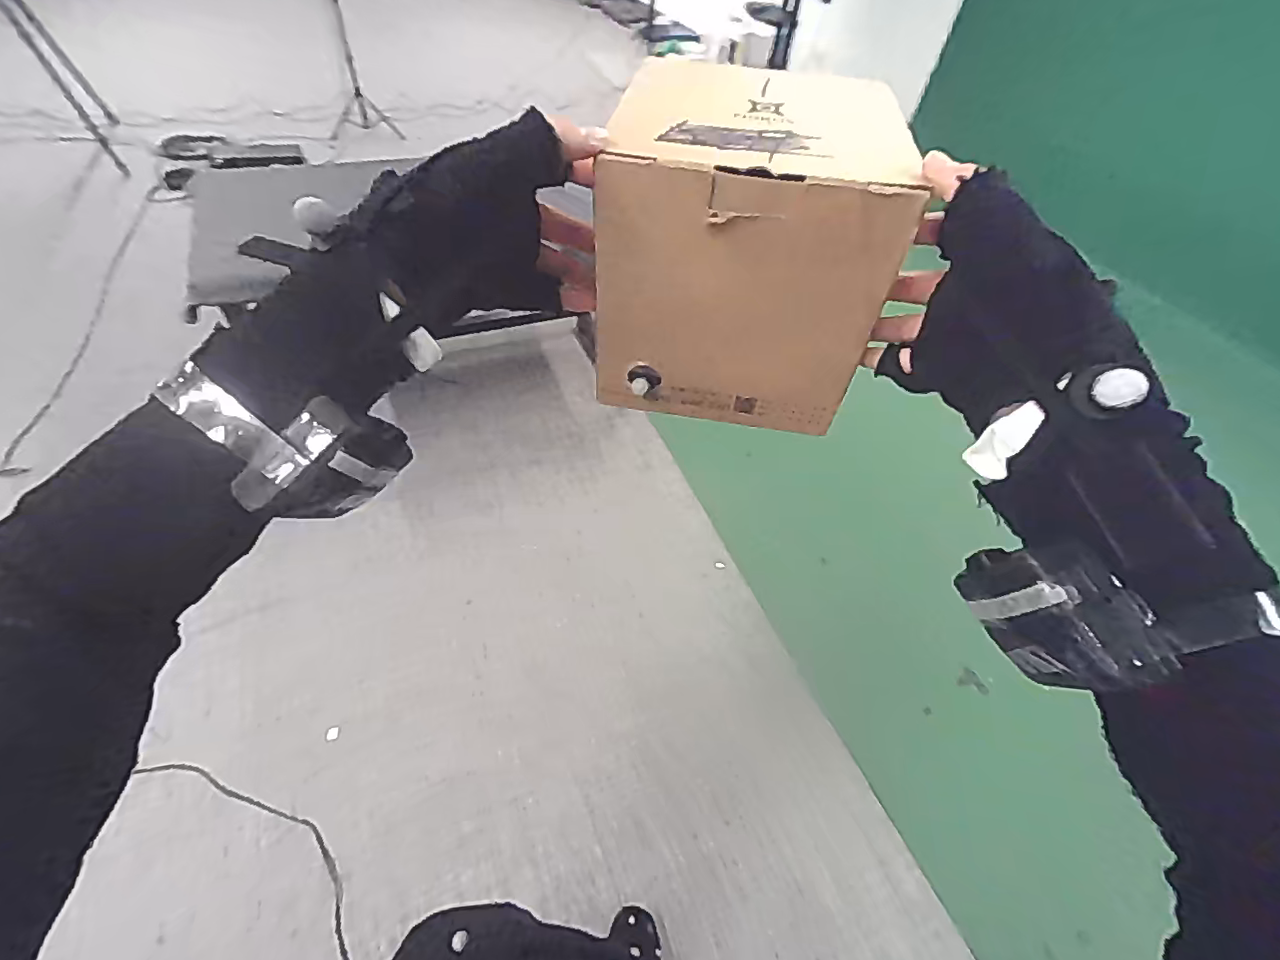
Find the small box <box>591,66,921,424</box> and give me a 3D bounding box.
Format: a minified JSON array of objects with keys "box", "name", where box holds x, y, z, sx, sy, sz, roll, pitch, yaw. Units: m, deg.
[{"box":[0.066,-0.161,0.380,0.168,0.176,0.179,8,50,3],"name":"small box"}]
